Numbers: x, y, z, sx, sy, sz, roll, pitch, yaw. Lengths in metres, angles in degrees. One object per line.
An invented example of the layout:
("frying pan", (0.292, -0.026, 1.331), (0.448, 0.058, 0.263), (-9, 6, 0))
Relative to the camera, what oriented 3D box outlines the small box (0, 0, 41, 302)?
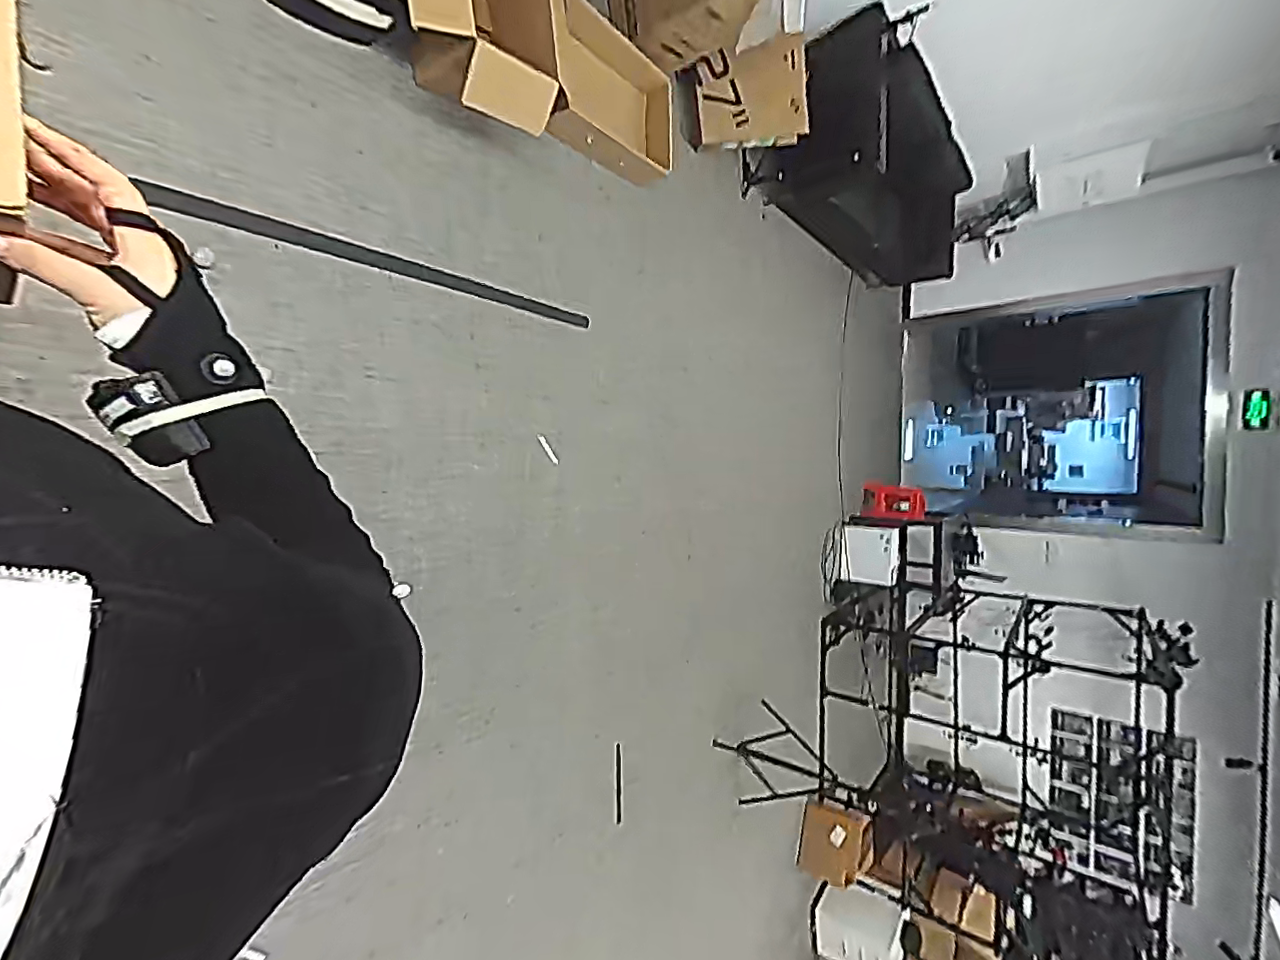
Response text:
("small box", (-0.473, -0.224, 0.305), (0.168, 0.176, 0.179), (-3, 87, -52))
